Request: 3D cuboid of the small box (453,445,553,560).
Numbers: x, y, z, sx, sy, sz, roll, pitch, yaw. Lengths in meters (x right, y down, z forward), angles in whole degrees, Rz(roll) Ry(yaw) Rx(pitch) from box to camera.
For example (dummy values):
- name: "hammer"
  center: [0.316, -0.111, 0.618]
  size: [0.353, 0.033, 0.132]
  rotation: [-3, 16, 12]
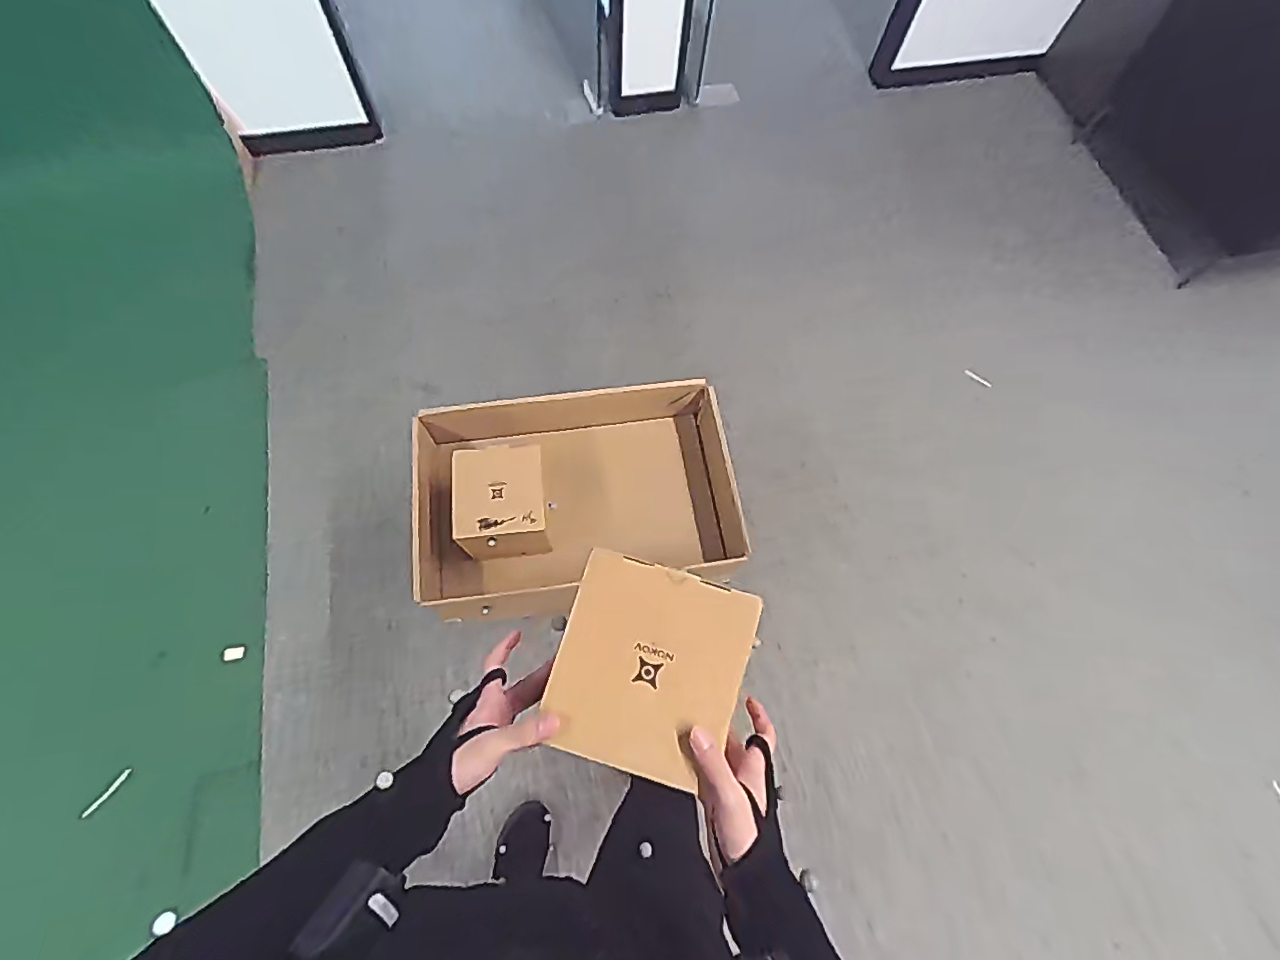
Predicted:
- name: "small box"
  center: [-0.265, 0.048, 1.071]
  size: [0.168, 0.176, 0.179]
  rotation: [-5, 69, -5]

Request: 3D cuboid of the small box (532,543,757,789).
- name: "small box"
  center: [0.006, 0.178, 0.560]
  size: [0.168, 0.176, 0.179]
  rotation: [17, 78, 2]
